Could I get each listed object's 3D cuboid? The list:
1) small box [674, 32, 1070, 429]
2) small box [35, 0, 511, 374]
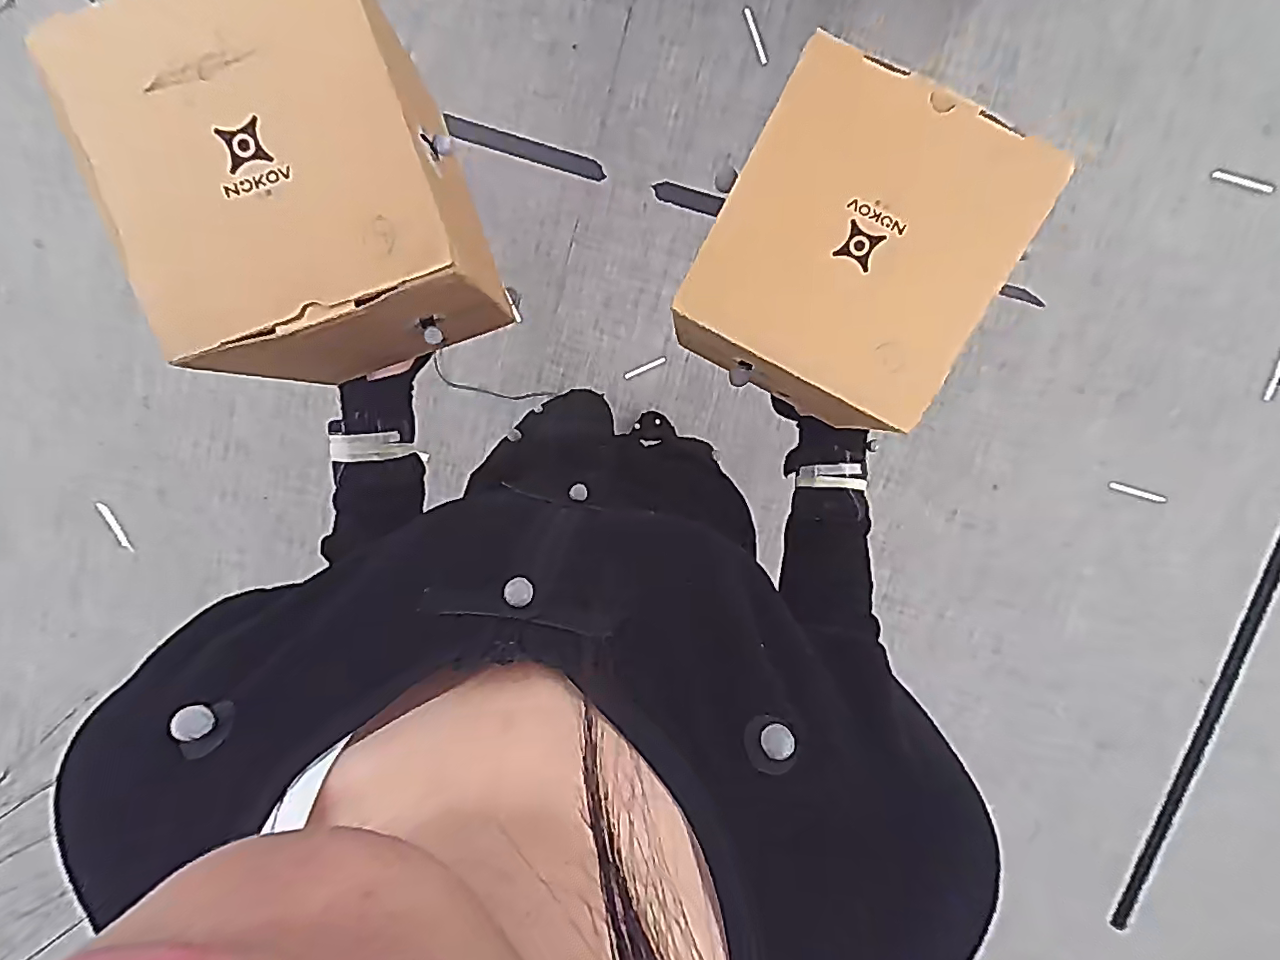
[{"bbox_3d":[0.139,-0.150,0.395,0.168,0.176,0.179,28,97,2],"label":"small box"},{"bbox_3d":[-0.201,-0.177,0.358,0.168,0.176,0.179,-20,96,-1],"label":"small box"}]
